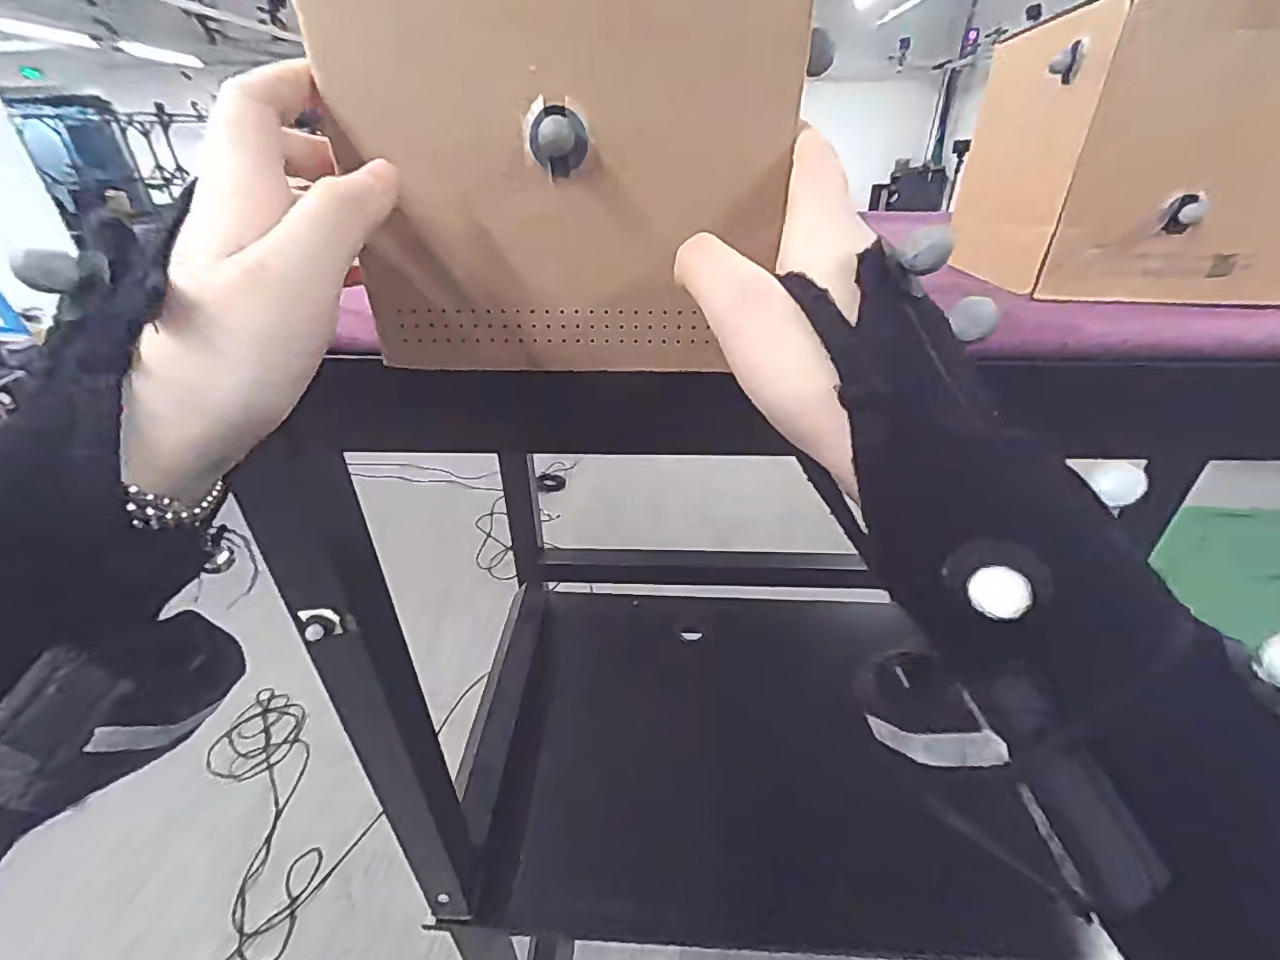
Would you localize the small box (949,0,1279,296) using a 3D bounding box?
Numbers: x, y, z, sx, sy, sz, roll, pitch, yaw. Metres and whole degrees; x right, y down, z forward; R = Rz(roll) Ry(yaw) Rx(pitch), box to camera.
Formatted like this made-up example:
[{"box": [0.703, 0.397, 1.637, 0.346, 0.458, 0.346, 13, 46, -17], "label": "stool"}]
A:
[{"box": [0.348, -0.236, 0.379, 0.168, 0.176, 0.179, 3, 31, 7], "label": "small box"}]
